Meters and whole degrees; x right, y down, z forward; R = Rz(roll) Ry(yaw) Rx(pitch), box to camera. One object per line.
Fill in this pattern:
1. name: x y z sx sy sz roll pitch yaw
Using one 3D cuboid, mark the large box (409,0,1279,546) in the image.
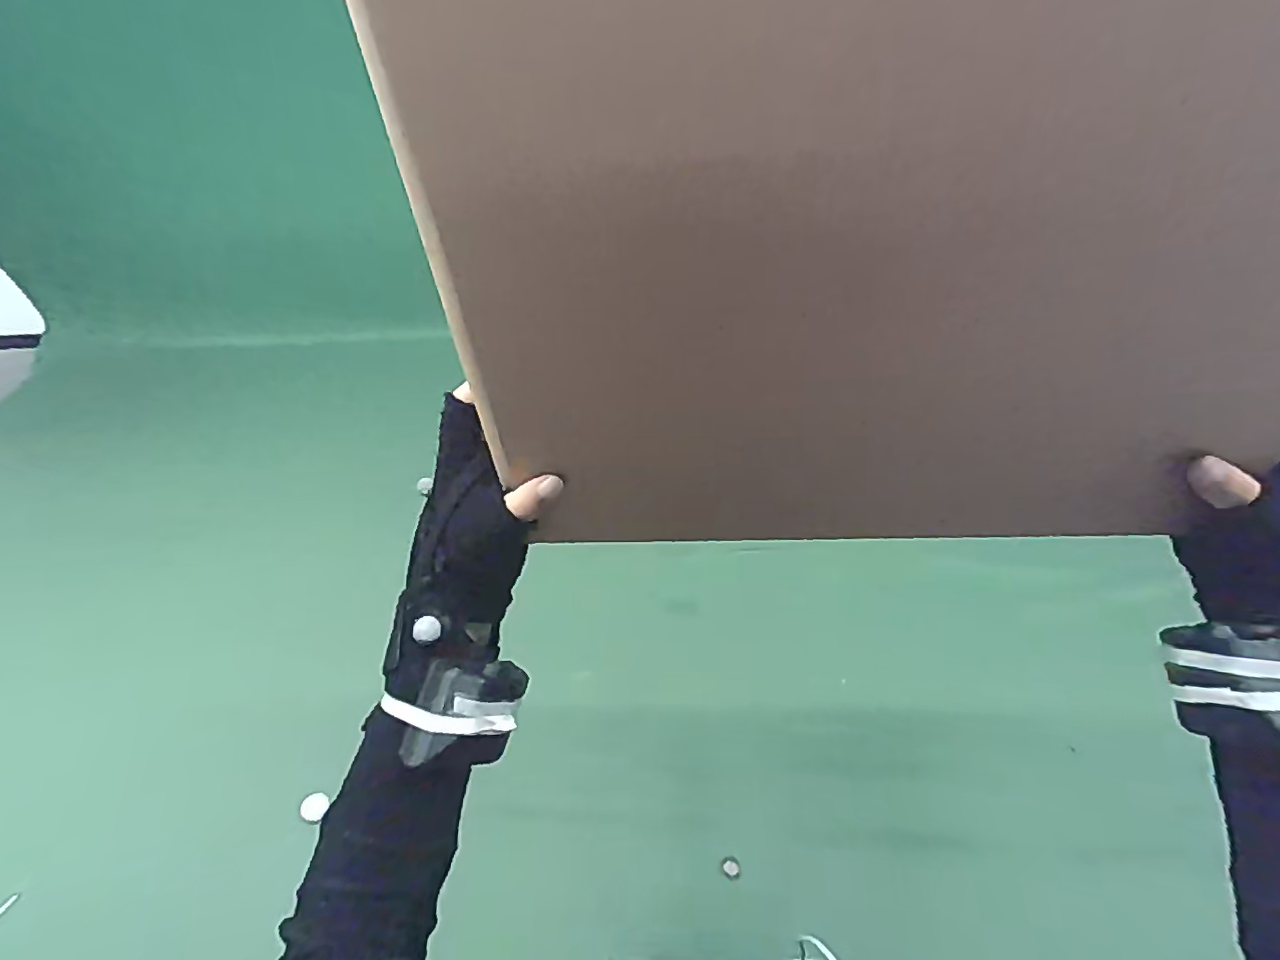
1. large box: 0.129 -0.173 0.335 0.408 0.320 0.320 -1 43 2
